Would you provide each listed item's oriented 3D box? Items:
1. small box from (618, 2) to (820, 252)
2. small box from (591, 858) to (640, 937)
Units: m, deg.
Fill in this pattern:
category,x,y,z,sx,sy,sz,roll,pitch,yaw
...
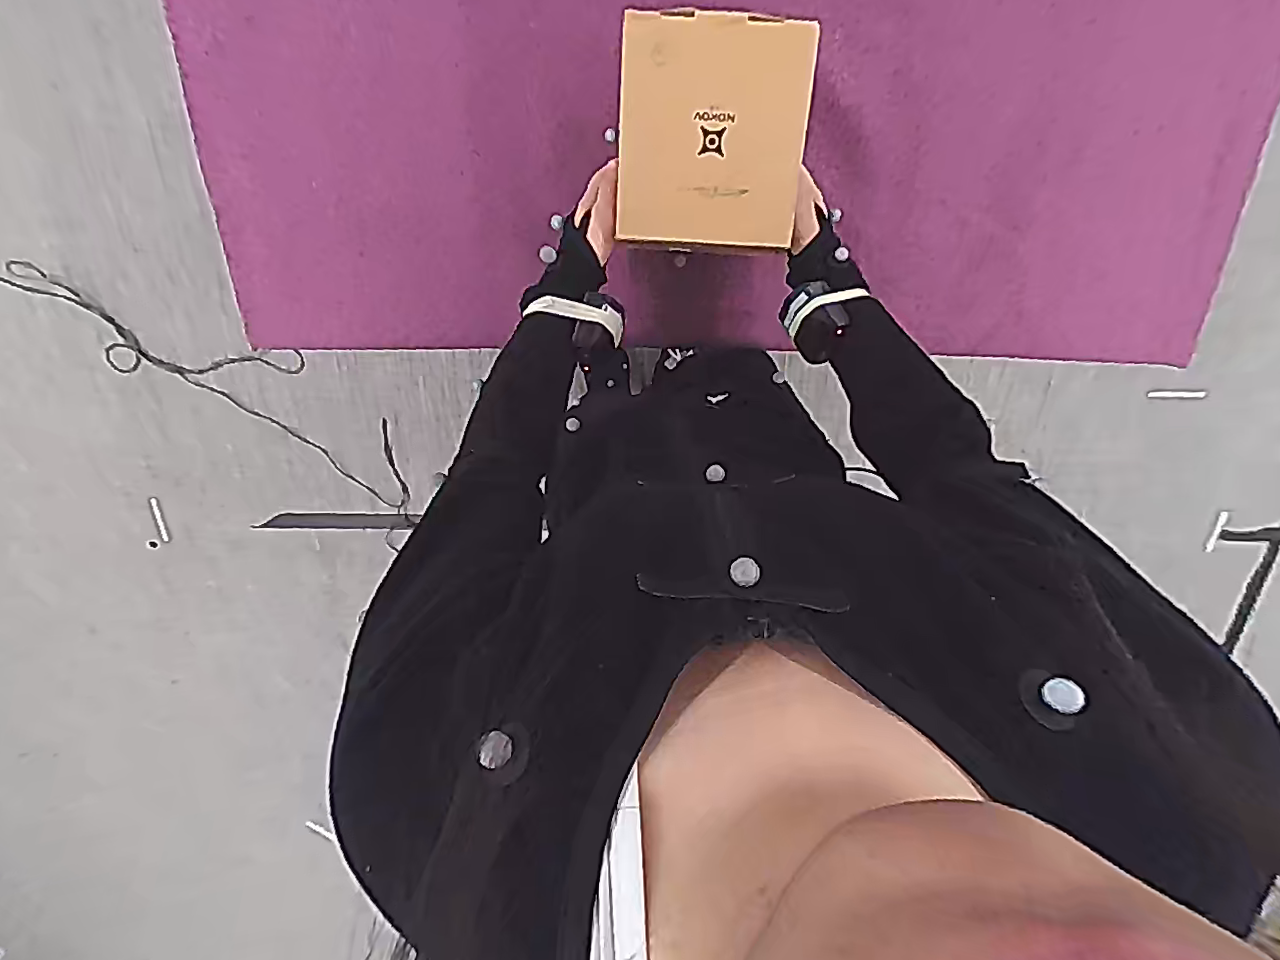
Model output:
category,x,y,z,sx,sy,sz,roll,pitch,yaw
small box,0.064,-0.334,0.548,0.168,0.176,0.179,3,111,0
small box,-0.086,1.552,2.012,0.168,0.176,0.179,-6,111,1
